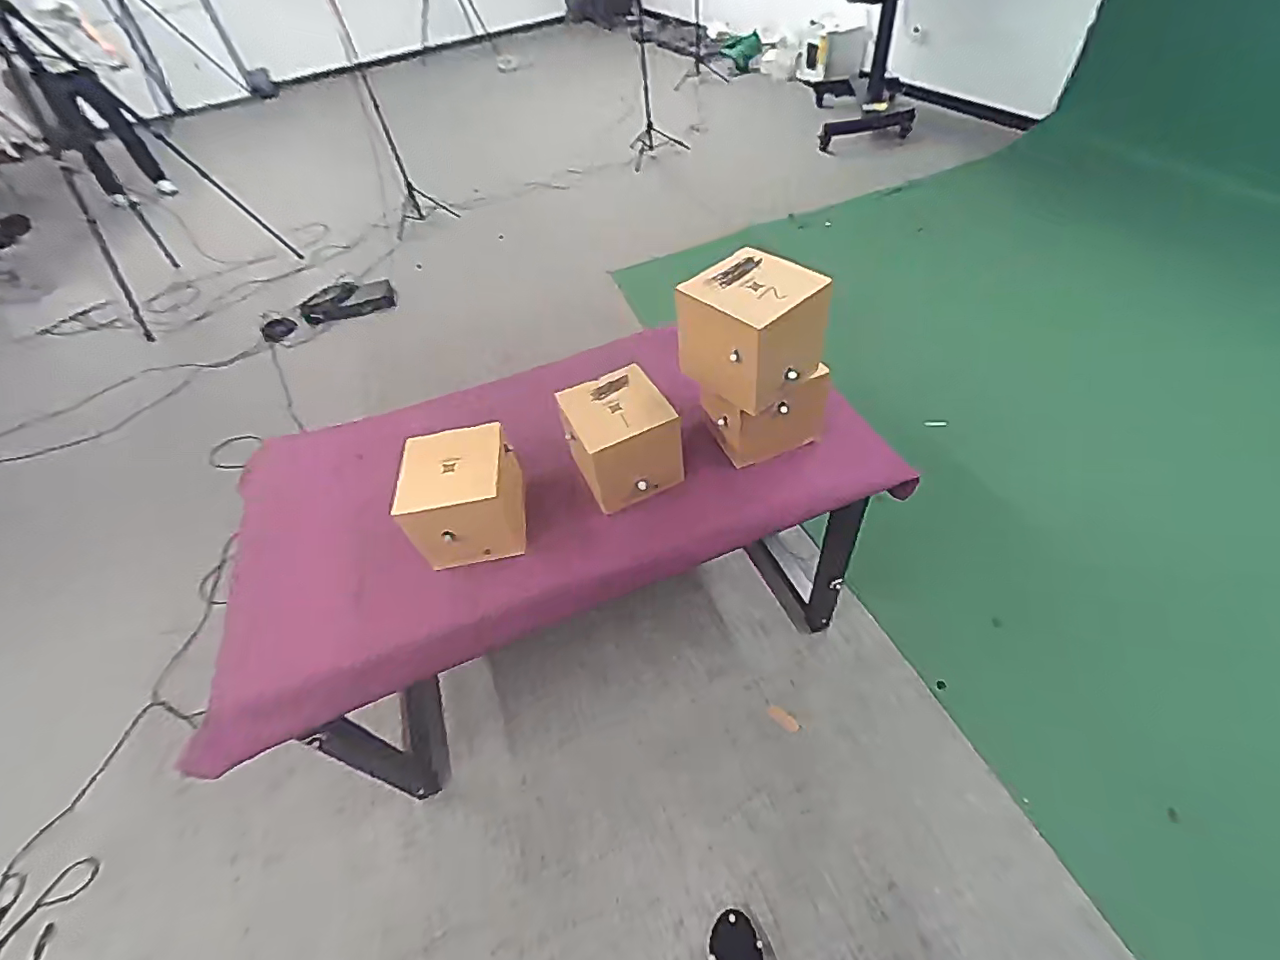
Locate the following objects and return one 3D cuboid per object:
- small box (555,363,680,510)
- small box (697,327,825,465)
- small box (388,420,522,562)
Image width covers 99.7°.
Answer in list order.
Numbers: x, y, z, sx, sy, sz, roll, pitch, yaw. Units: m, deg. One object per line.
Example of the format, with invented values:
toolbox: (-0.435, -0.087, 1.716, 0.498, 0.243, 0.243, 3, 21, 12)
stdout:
small box: (-0.038, -0.078, 0.985, 0.168, 0.176, 0.179, -23, 51, -12)
small box: (0.221, -0.154, 1.014, 0.179, 0.176, 0.168, -19, 49, -8)
small box: (-0.305, 0.026, 0.935, 0.168, 0.176, 0.179, -10, 48, -1)
